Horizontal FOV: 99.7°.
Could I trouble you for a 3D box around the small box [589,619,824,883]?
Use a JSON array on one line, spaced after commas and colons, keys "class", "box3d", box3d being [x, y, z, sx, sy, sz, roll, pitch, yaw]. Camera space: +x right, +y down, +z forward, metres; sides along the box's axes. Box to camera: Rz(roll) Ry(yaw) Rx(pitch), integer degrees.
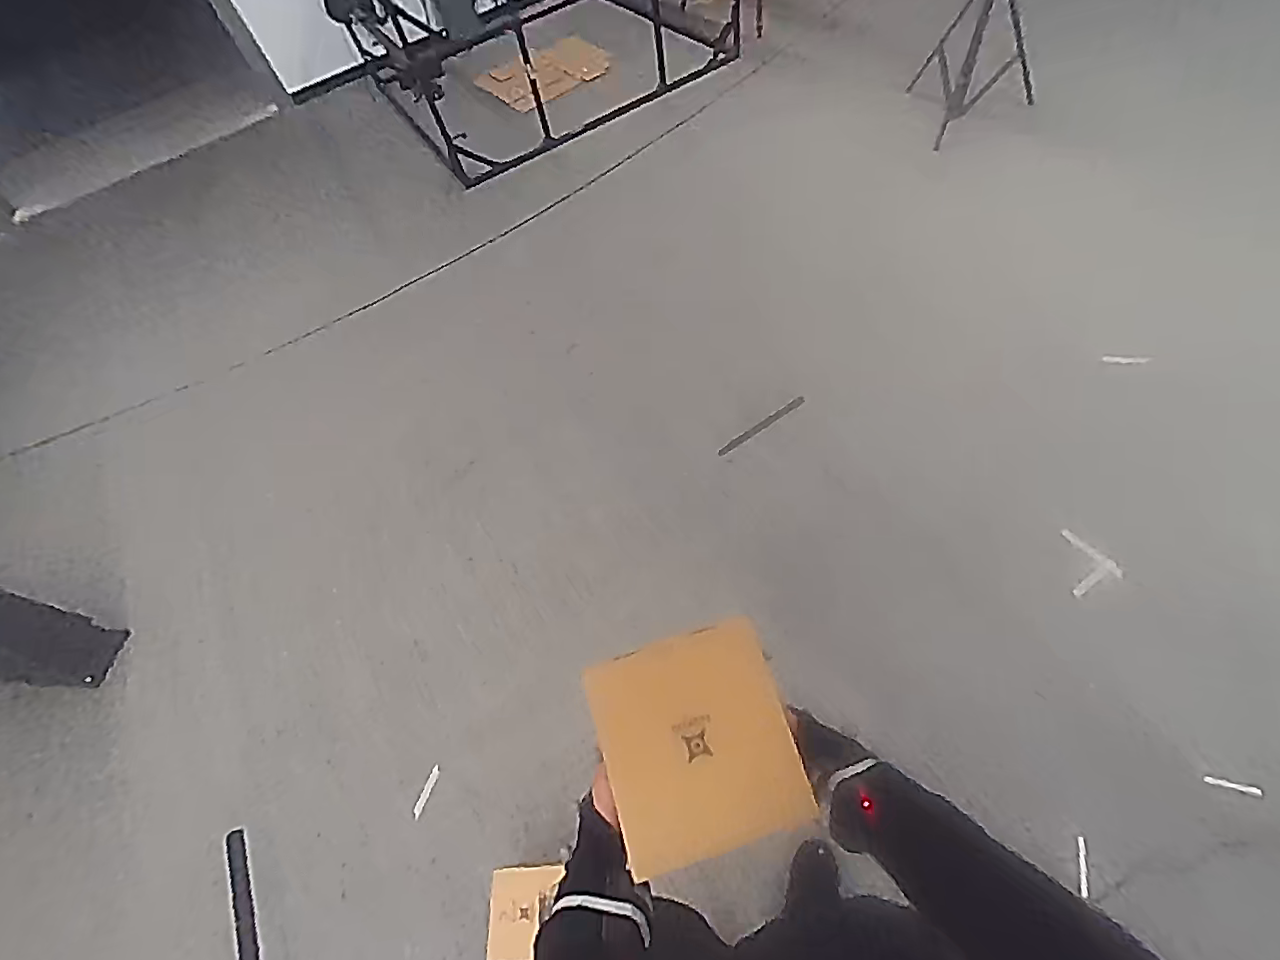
[{"class": "small box", "box3d": [0.055, 0.254, 0.545, 0.168, 0.176, 0.179, -16, 70, -5]}]
